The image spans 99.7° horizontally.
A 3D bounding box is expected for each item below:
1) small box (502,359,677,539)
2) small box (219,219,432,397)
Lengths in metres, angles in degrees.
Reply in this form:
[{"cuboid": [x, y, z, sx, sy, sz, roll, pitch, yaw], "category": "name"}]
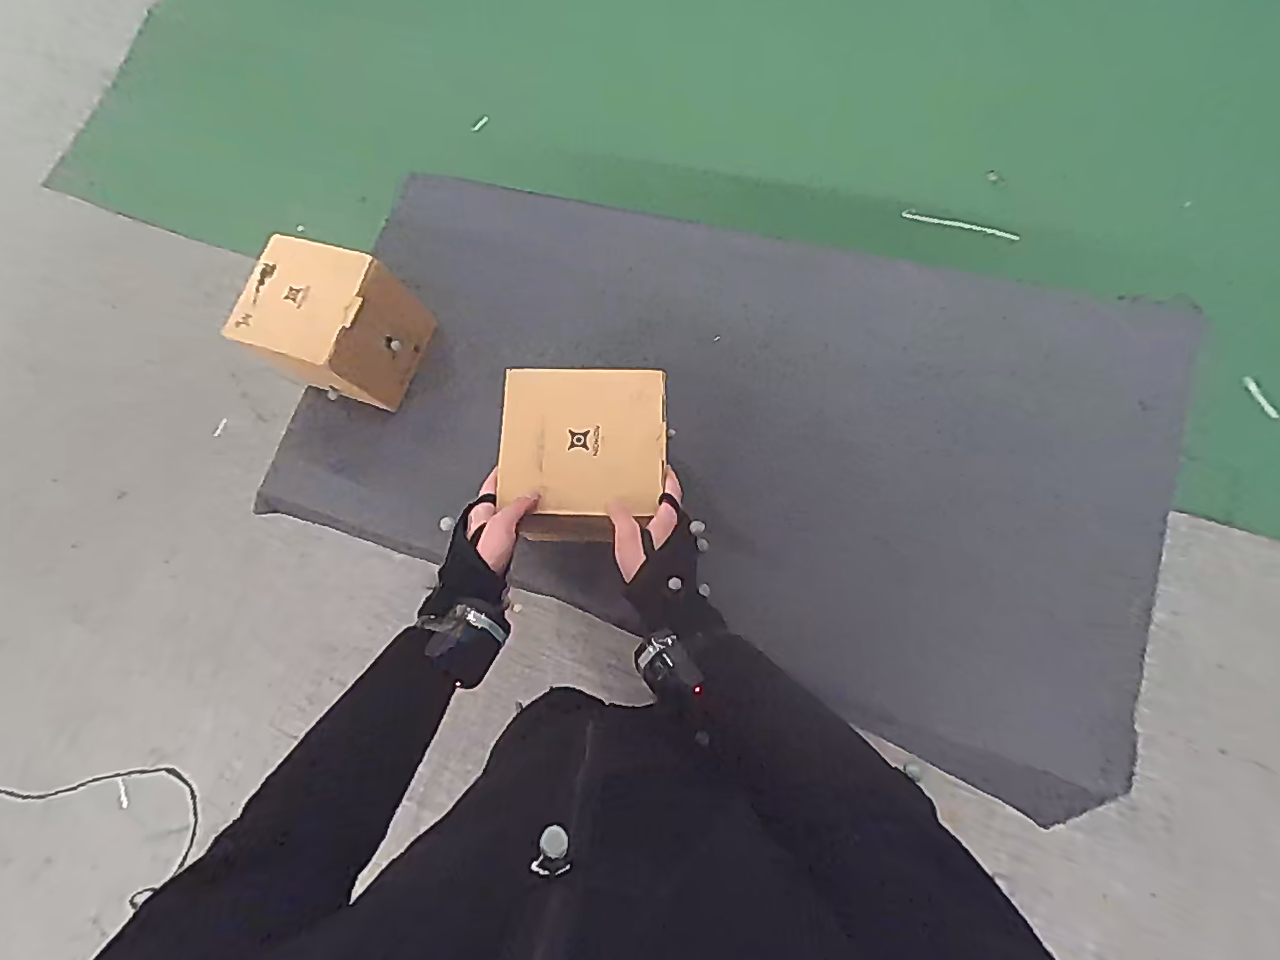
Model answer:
[{"cuboid": [-0.049, -0.027, 0.637, 0.179, 0.176, 0.168, 1, 73, 1], "category": "small box"}, {"cuboid": [-0.439, -0.238, 0.789, 0.179, 0.176, 0.168, 19, 79, 10], "category": "small box"}]
